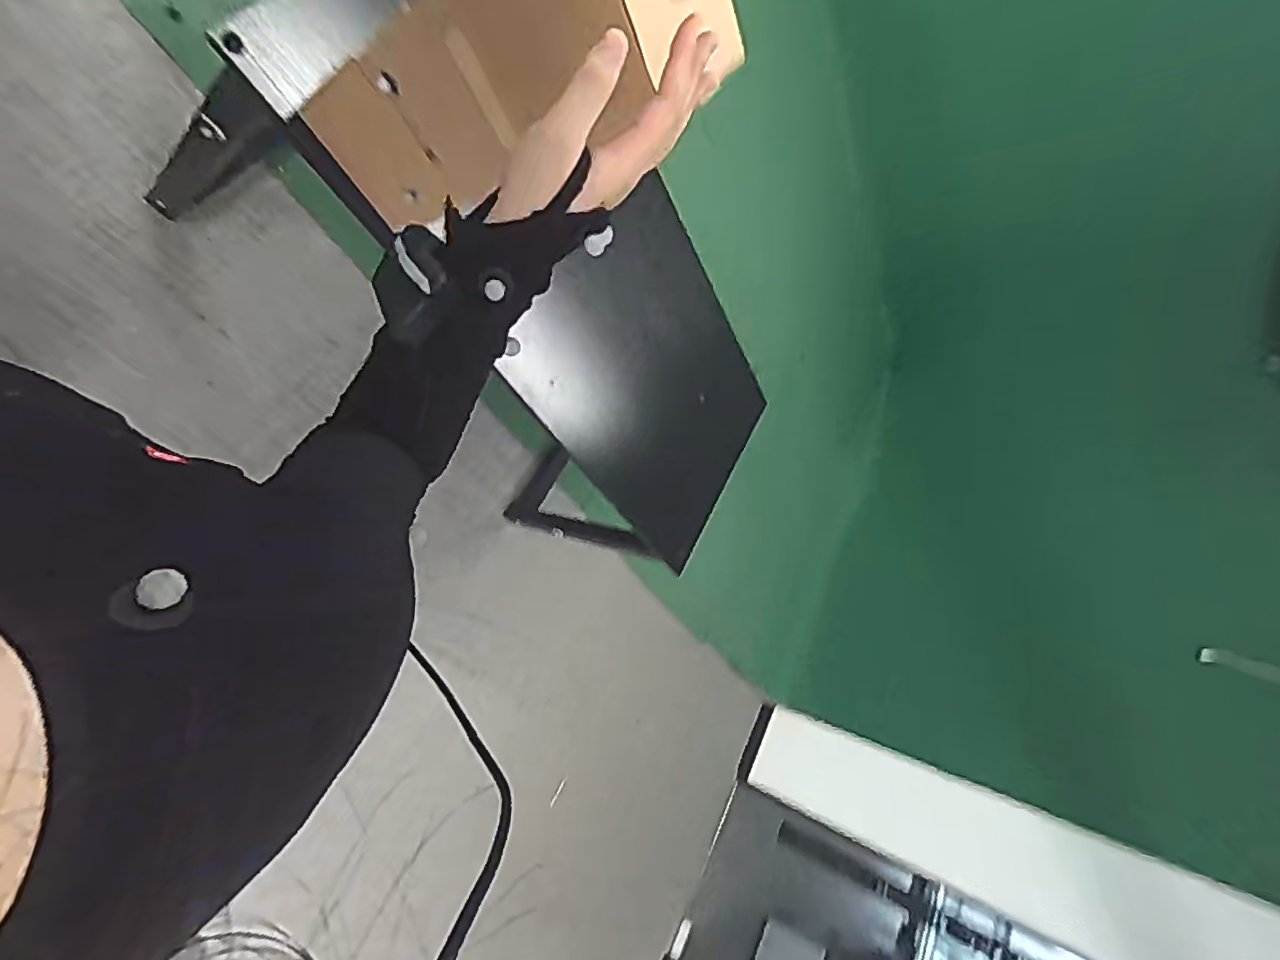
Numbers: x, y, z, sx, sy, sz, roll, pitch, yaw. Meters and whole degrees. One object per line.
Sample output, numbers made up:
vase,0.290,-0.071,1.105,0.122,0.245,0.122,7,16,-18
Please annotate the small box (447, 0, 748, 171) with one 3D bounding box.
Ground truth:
small box,-0.033,-0.405,0.482,0.168,0.176,0.179,-57,133,-28

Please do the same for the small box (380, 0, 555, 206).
small box,-0.151,-0.431,0.592,0.179,0.176,0.168,-56,134,-27
